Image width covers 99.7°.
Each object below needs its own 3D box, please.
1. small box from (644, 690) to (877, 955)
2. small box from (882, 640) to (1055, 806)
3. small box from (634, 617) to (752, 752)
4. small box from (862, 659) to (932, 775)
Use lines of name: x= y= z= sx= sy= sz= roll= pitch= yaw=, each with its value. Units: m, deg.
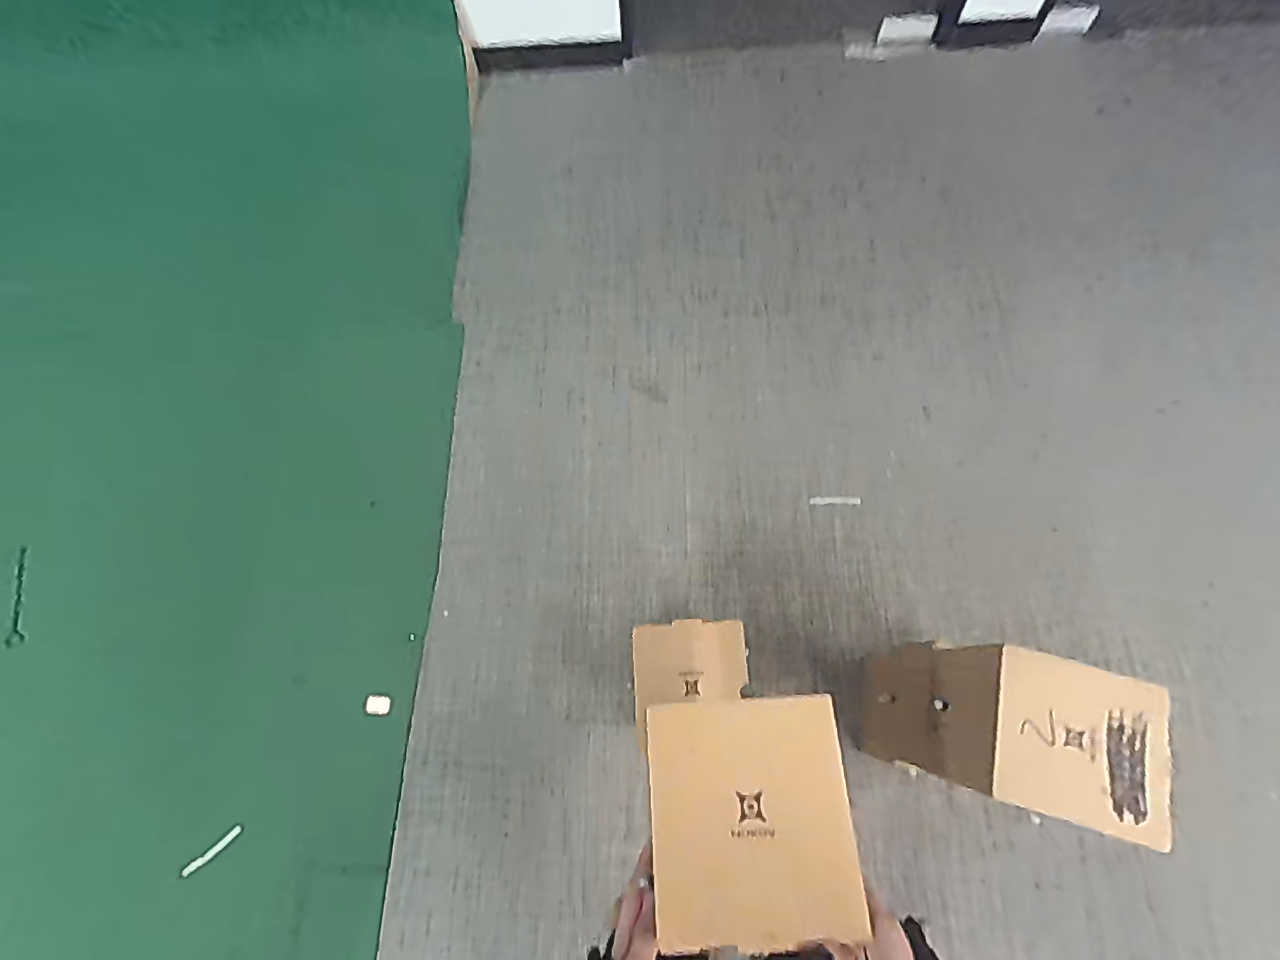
small box: x=0.090 y=0.297 z=0.503 sx=0.168 sy=0.176 sz=0.179 roll=-3 pitch=66 yaw=-1
small box: x=0.479 y=0.351 z=0.809 sx=0.168 sy=0.176 sz=0.179 roll=13 pitch=71 yaw=7
small box: x=0.078 y=0.315 z=0.841 sx=0.168 sy=0.176 sz=0.179 roll=-4 pitch=70 yaw=2
small box: x=0.504 y=0.419 z=0.956 sx=0.168 sy=0.176 sz=0.179 roll=9 pitch=71 yaw=6
